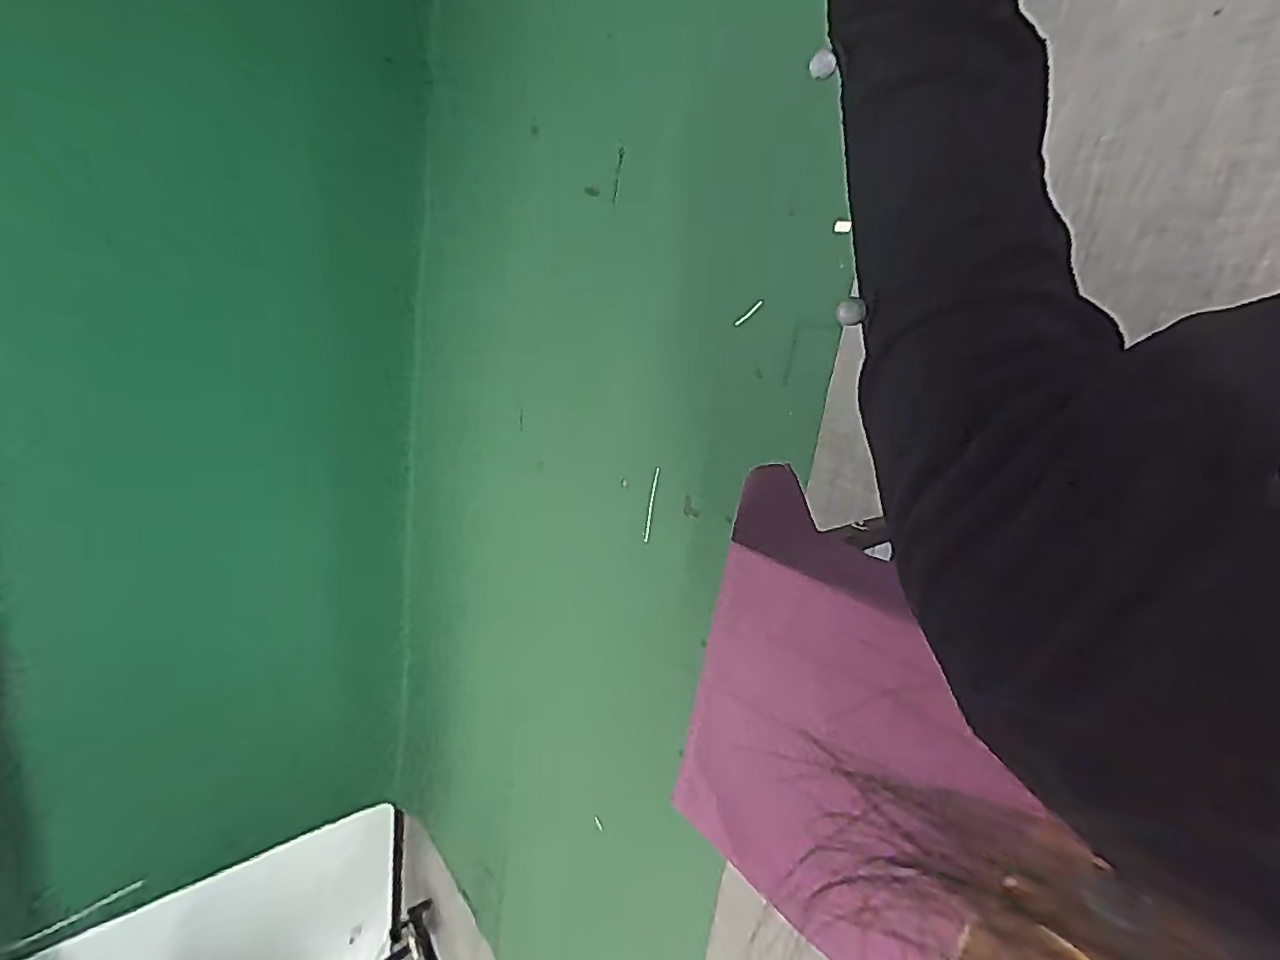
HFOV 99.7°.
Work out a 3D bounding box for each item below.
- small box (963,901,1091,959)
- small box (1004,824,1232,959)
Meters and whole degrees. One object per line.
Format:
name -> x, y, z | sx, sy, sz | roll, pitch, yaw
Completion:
small box -> 0.361, 0.536, 0.473 | 0.179, 0.176, 0.168 | 27, 113, 42
small box -> 0.485, 0.526, 0.576 | 0.168, 0.176, 0.179 | 29, 114, 41
